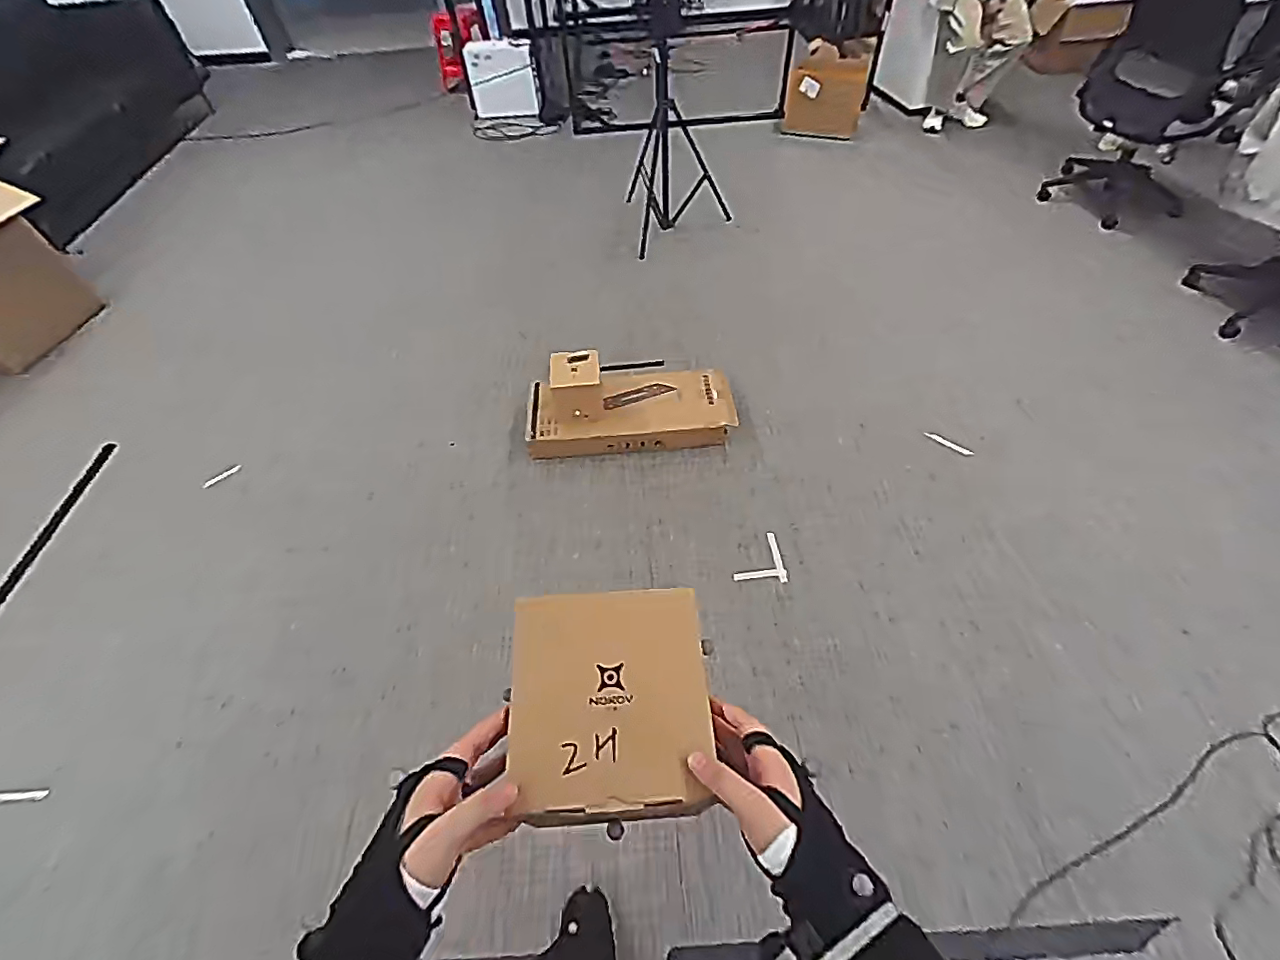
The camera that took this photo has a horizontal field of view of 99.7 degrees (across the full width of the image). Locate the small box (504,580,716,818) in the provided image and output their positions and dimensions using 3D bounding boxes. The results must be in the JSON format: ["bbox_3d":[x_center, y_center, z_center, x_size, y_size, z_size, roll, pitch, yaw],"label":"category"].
[{"bbox_3d":[-0.029,0.215,0.525,0.168,0.176,0.179,-3,55,-3],"label":"small box"}]

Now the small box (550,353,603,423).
[{"bbox_3d":[-0.220,-0.321,1.892,0.168,0.176,0.179,-6,53,-1],"label":"small box"}]
